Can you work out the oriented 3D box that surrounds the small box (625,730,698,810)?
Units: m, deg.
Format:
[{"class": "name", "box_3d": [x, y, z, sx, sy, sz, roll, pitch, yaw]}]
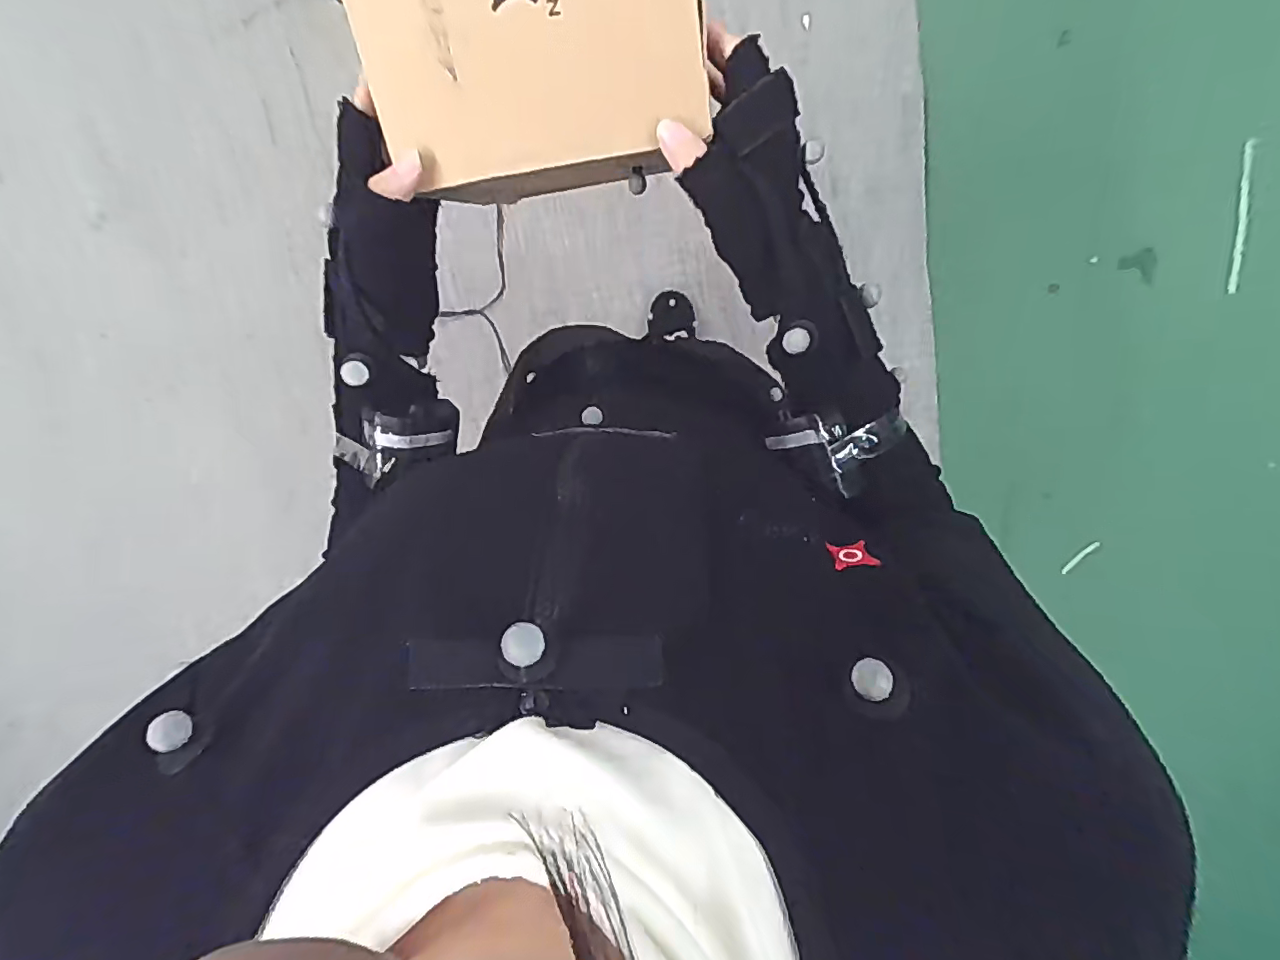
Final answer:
[{"class": "small box", "box_3d": [0.071, 0.897, 1.642, 0.179, 0.176, 0.168, -18, 105, 10]}]

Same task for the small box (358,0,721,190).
[{"class": "small box", "box_3d": [-0.055, -0.289, 0.332, 0.179, 0.176, 0.168, -9, 114, 5]}]
